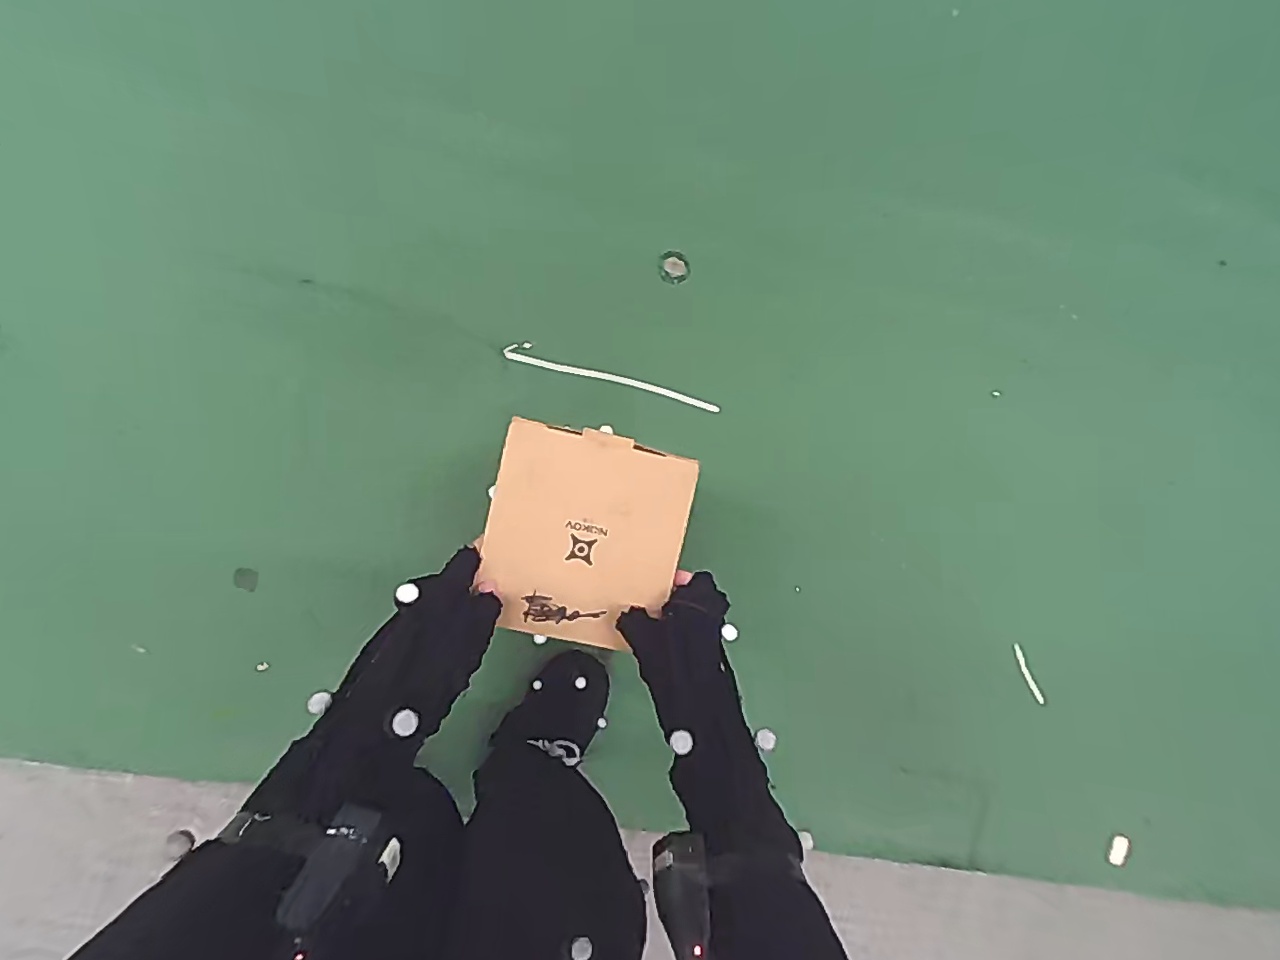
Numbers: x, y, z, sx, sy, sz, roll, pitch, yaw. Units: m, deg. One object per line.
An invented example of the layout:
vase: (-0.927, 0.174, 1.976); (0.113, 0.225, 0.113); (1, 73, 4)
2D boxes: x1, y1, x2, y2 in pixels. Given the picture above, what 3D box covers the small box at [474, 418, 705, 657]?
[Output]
small box: (-0.051, 0.049, 0.533); (0.168, 0.176, 0.179); (13, 90, -7)
